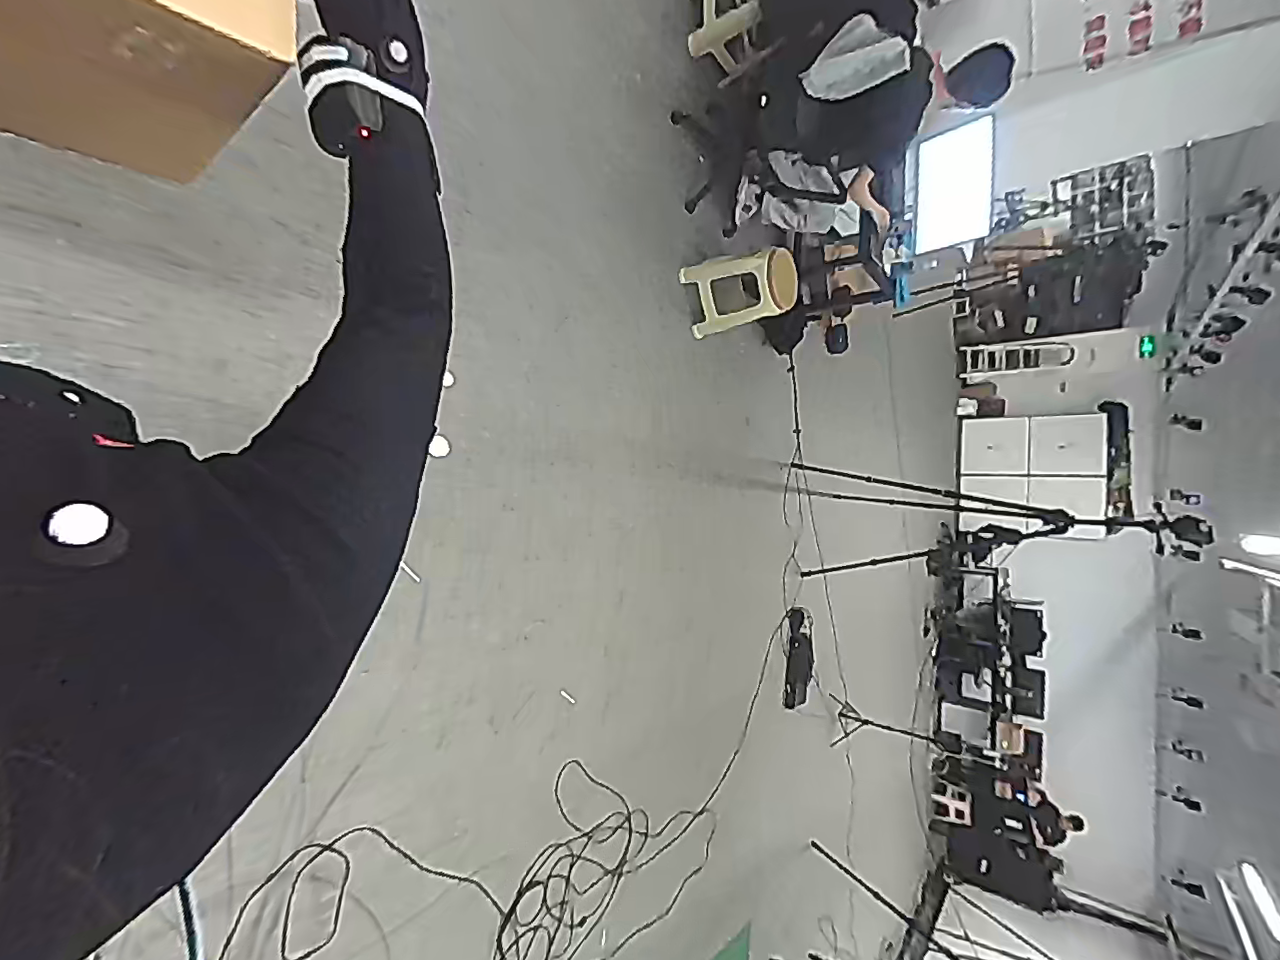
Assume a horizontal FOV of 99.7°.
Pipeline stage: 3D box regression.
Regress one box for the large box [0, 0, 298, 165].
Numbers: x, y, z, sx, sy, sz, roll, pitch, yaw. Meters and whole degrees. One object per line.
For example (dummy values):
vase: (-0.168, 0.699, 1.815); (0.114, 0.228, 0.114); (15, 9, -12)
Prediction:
large box: (-0.489, -0.457, 0.318); (0.408, 0.320, 0.320); (-6, 100, -51)
